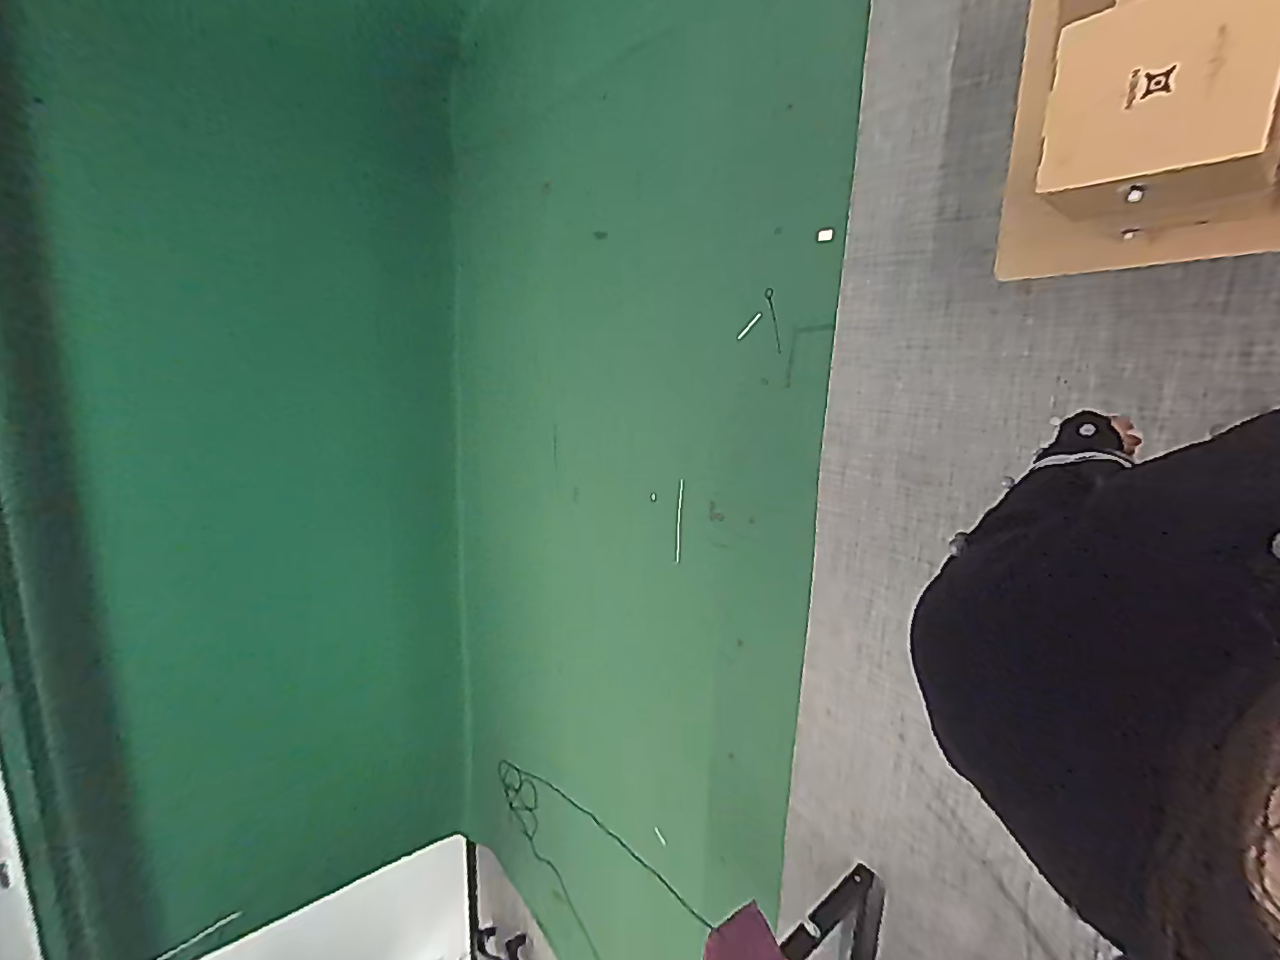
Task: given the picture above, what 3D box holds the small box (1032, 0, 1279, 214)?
[{"bbox_3d":[0.562,-0.397,0.577,0.179,0.176,0.168,17,110,49],"label":"small box"}]
